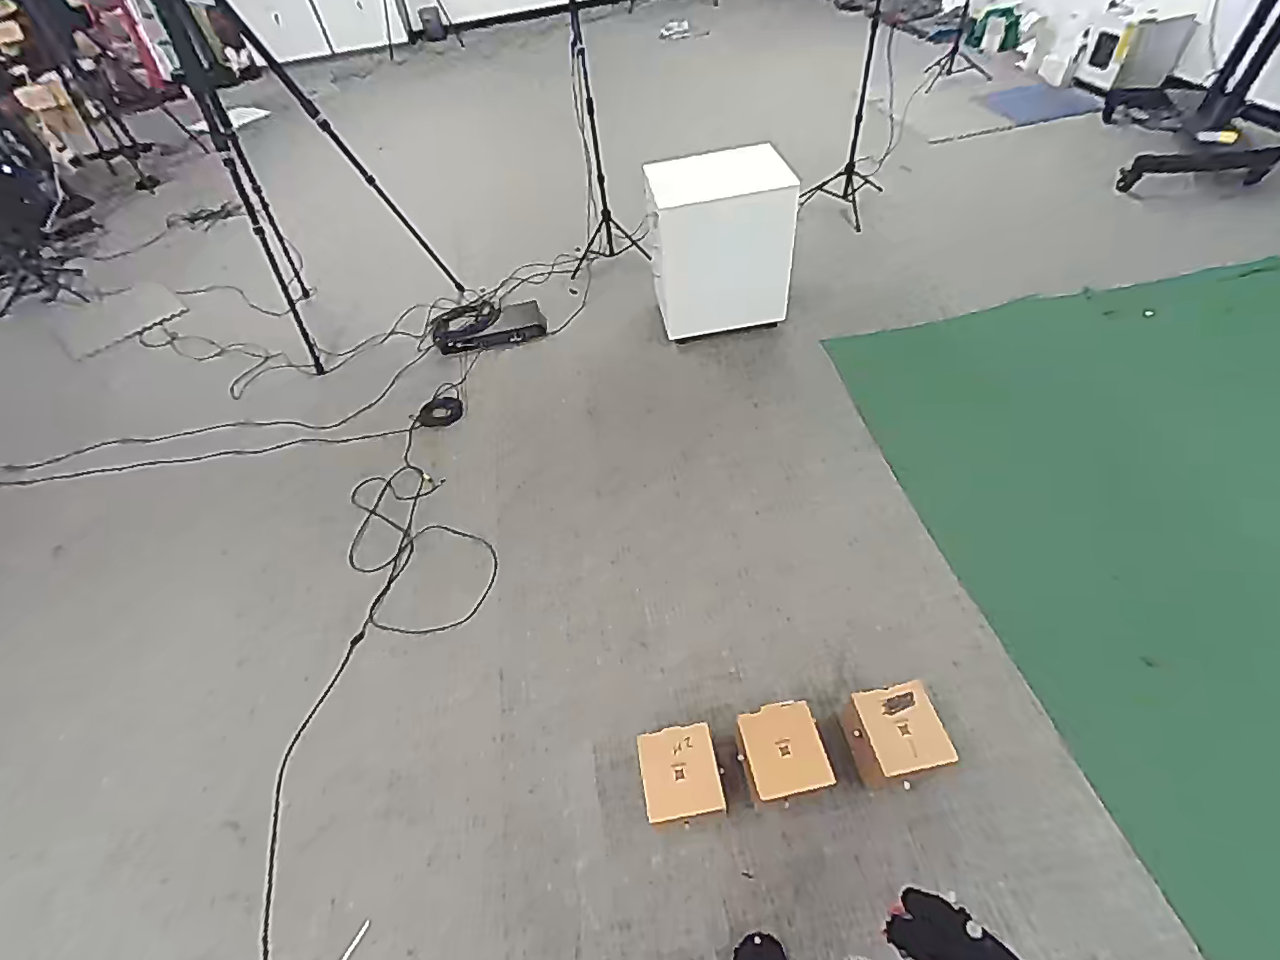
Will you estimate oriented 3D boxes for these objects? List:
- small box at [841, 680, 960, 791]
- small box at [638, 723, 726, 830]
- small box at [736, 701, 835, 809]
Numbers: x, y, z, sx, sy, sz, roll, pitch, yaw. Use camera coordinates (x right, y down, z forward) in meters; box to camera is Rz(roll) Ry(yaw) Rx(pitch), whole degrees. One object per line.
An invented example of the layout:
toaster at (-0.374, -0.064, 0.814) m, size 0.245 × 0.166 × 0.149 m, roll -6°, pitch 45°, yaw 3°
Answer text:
small box at (0.583, 0.588, 1.241) m, size 0.168 × 0.176 × 0.179 m, roll -12°, pitch 51°, yaw -2°
small box at (0.096, 0.678, 1.227) m, size 0.168 × 0.176 × 0.179 m, roll -10°, pitch 50°, yaw -2°
small box at (0.323, 0.635, 1.236) m, size 0.168 × 0.176 × 0.179 m, roll -12°, pitch 50°, yaw -3°
